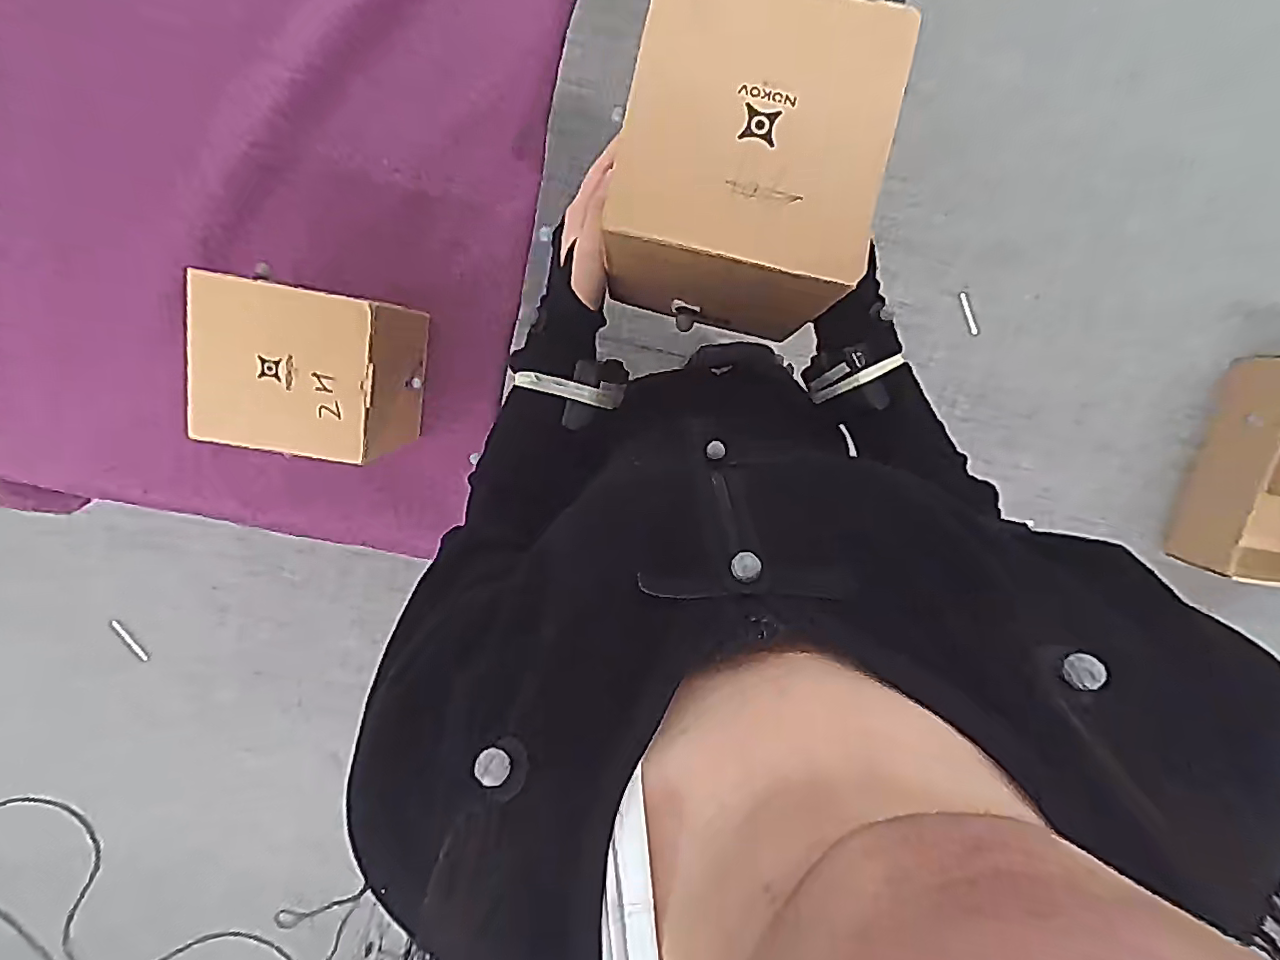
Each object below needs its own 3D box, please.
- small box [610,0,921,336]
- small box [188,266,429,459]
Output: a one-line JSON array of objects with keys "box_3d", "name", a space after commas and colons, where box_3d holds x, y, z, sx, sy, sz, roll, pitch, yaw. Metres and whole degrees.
[{"box_3d": [0.077, -0.229, 0.416, 0.168, 0.176, 0.179, 13, 93, -1], "name": "small box"}, {"box_3d": [-0.363, -0.130, 0.617, 0.179, 0.176, 0.168, 9, 103, -5], "name": "small box"}]
